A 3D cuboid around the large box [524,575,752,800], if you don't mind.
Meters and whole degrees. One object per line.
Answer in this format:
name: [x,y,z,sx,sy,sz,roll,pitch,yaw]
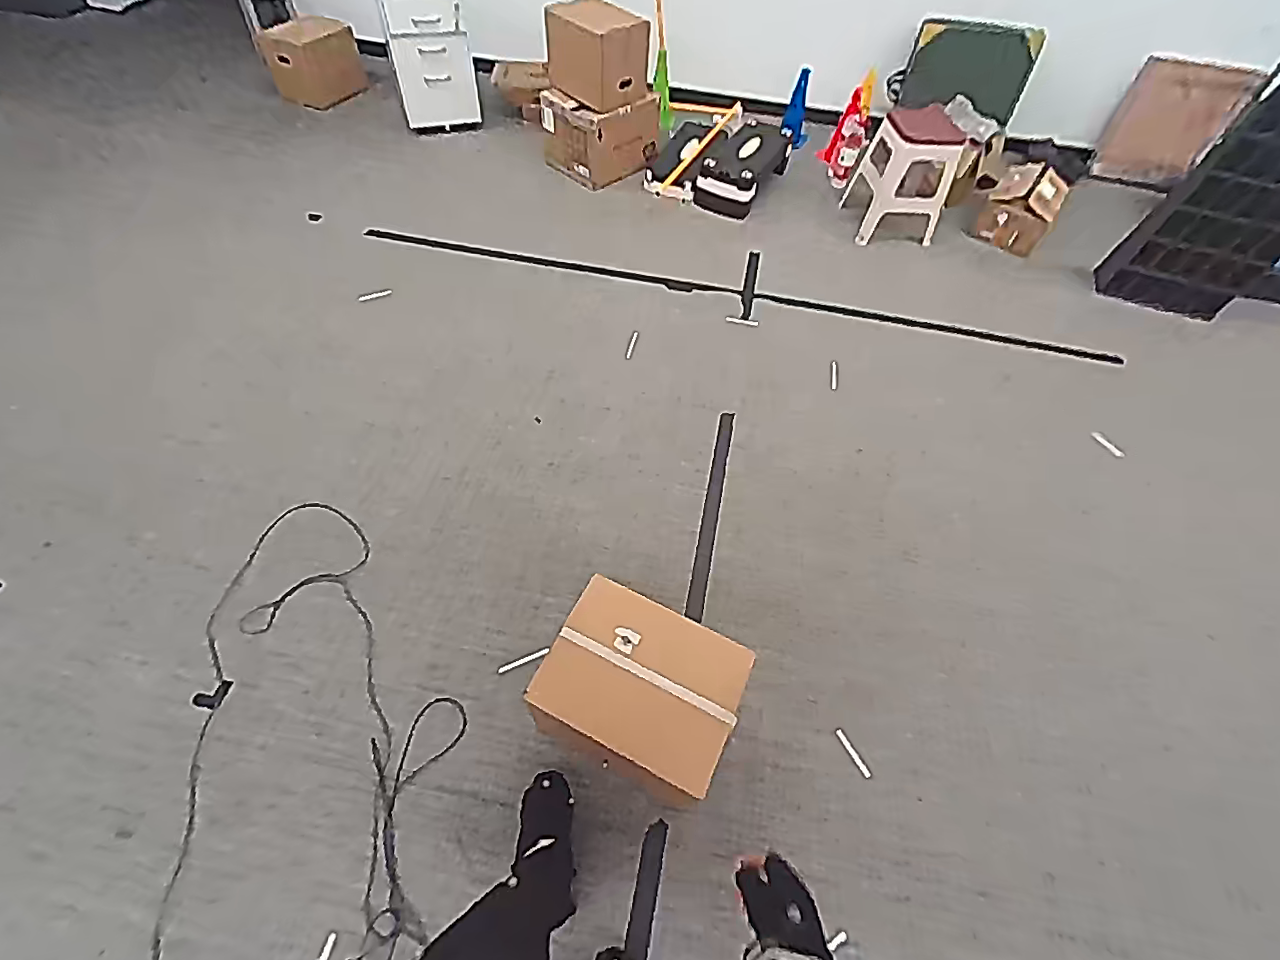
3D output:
large box: [0.000,0.489,1.264,0.408,0.320,0.320,24,57,12]
